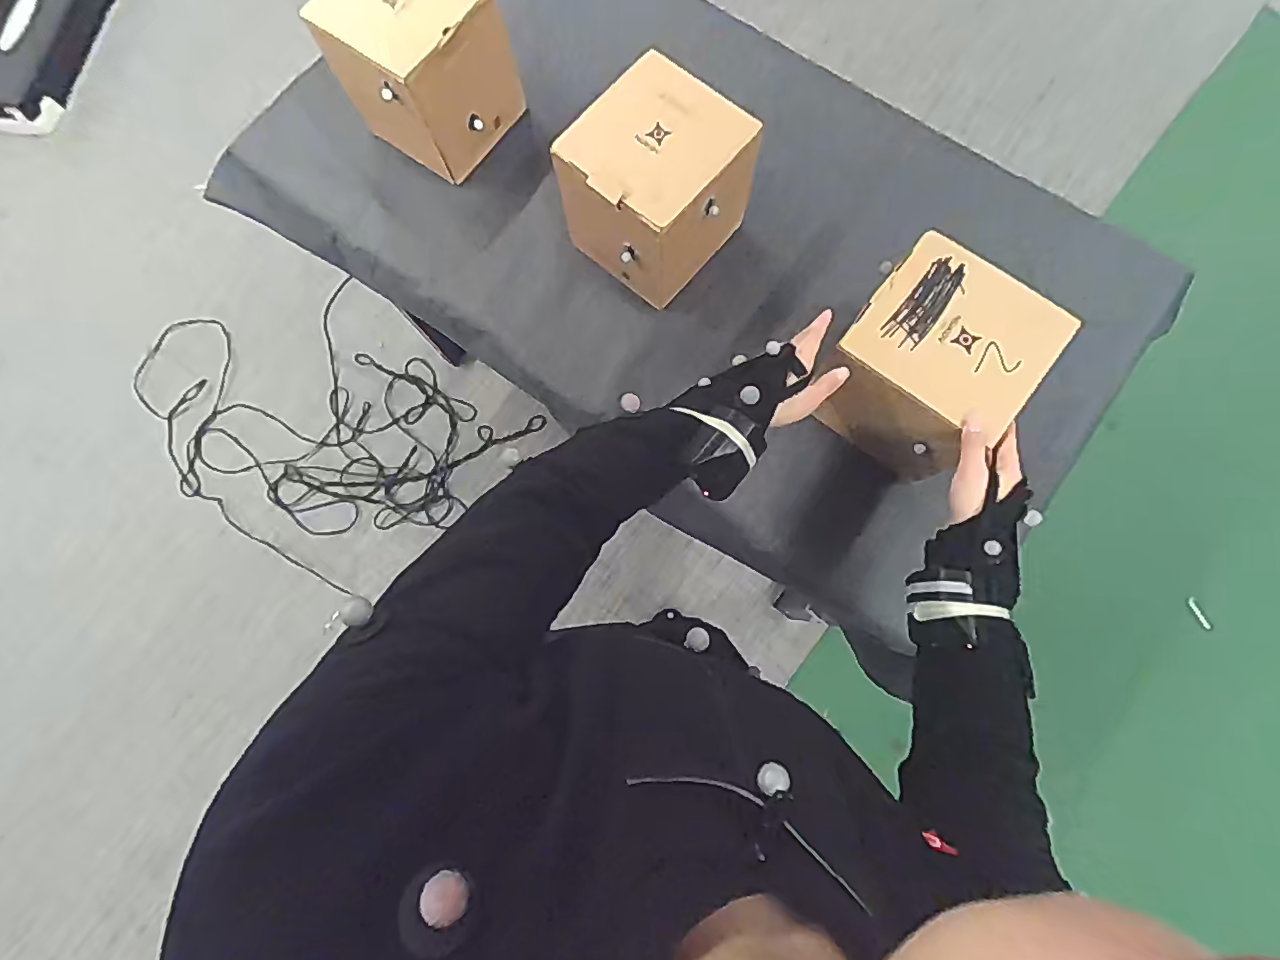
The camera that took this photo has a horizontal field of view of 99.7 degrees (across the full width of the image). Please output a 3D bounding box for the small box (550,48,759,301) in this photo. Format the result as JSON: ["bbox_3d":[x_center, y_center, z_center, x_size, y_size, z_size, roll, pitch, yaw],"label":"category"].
[{"bbox_3d":[0.019,-0.359,0.668,0.168,0.176,0.179,40,81,8],"label":"small box"}]

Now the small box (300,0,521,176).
[{"bbox_3d":[-0.289,-0.554,0.721,0.179,0.176,0.168,35,81,8],"label":"small box"}]
